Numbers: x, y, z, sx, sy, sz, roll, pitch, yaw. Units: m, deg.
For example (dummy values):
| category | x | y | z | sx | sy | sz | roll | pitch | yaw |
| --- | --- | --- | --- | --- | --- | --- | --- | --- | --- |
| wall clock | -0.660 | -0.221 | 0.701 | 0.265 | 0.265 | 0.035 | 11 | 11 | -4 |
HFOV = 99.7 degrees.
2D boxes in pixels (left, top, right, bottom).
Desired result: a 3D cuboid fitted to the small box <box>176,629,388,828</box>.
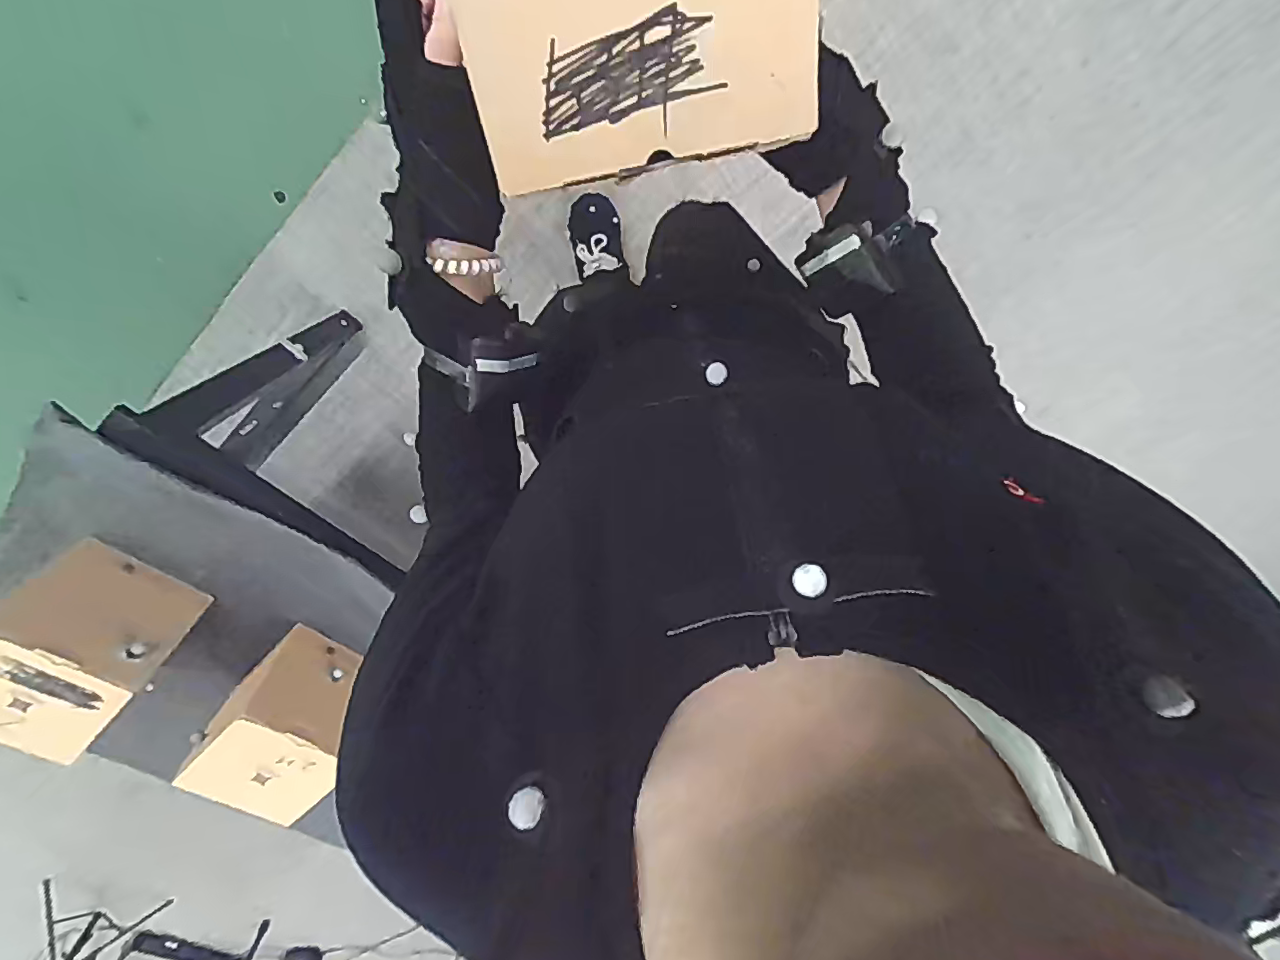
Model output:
| category | x | y | z | sx | sy | sz | roll | pitch | yaw |
| --- | --- | --- | --- | --- | --- | --- | --- | --- | --- |
| small box | -0.503 | 0.357 | 0.790 | 0.179 | 0.176 | 0.168 | -42 | 116 | 15 |

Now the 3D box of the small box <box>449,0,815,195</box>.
| category | x | y | z | sx | sy | sz | roll | pitch | yaw |
| --- | --- | --- | --- | --- | --- | --- | --- | --- | --- |
| small box | -0.015 | -0.275 | 0.293 | 0.168 | 0.176 | 0.179 | -13 | 125 | -2 |
